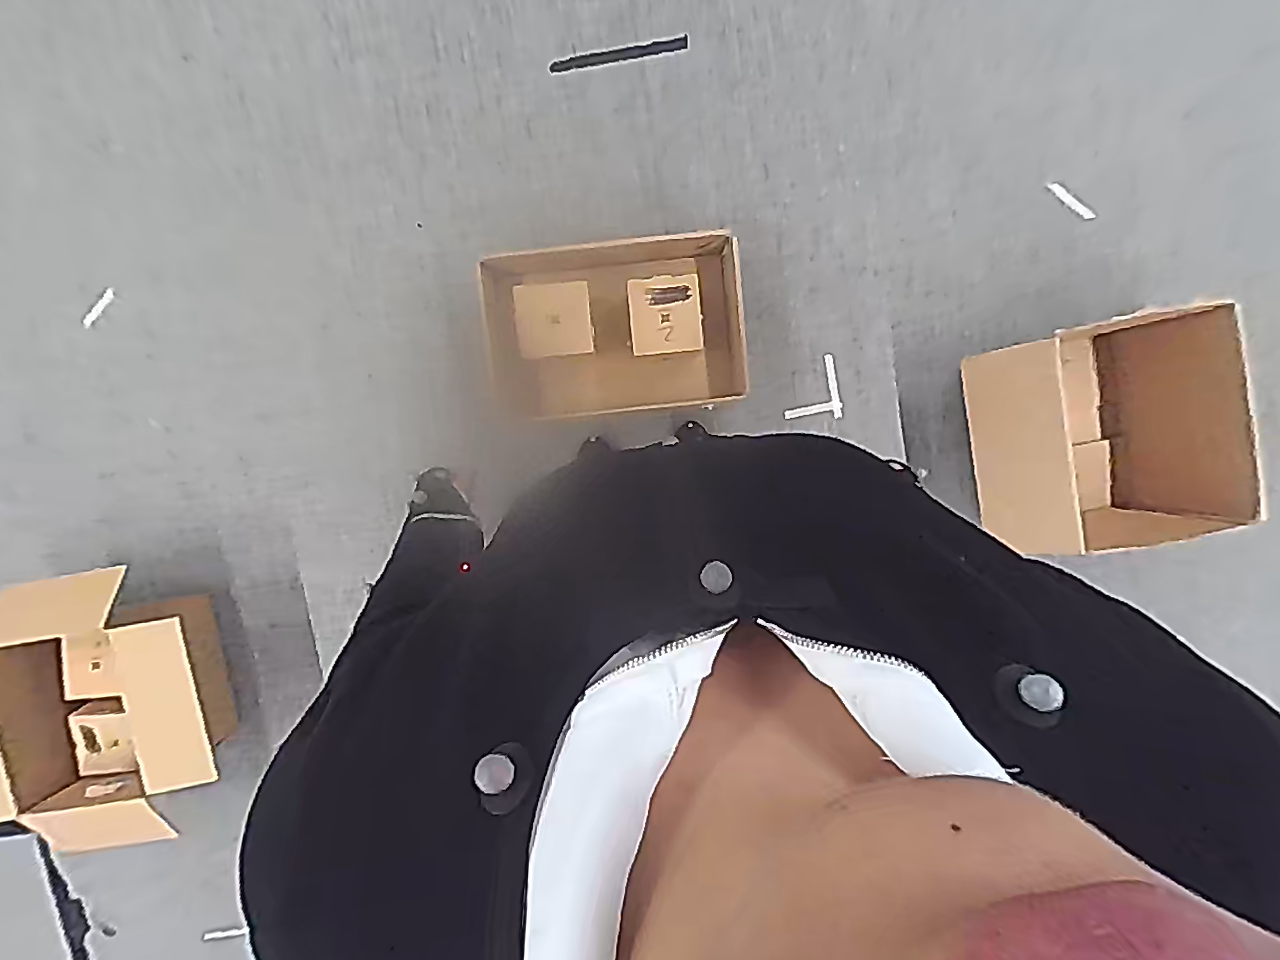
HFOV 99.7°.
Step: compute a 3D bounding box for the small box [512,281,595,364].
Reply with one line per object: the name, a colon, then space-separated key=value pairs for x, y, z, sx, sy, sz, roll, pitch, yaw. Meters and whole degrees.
small box: x=-0.208 y=-0.384 z=1.338 sx=0.179 sy=0.176 sz=0.168 roll=-6 pitch=97 yaw=-2
